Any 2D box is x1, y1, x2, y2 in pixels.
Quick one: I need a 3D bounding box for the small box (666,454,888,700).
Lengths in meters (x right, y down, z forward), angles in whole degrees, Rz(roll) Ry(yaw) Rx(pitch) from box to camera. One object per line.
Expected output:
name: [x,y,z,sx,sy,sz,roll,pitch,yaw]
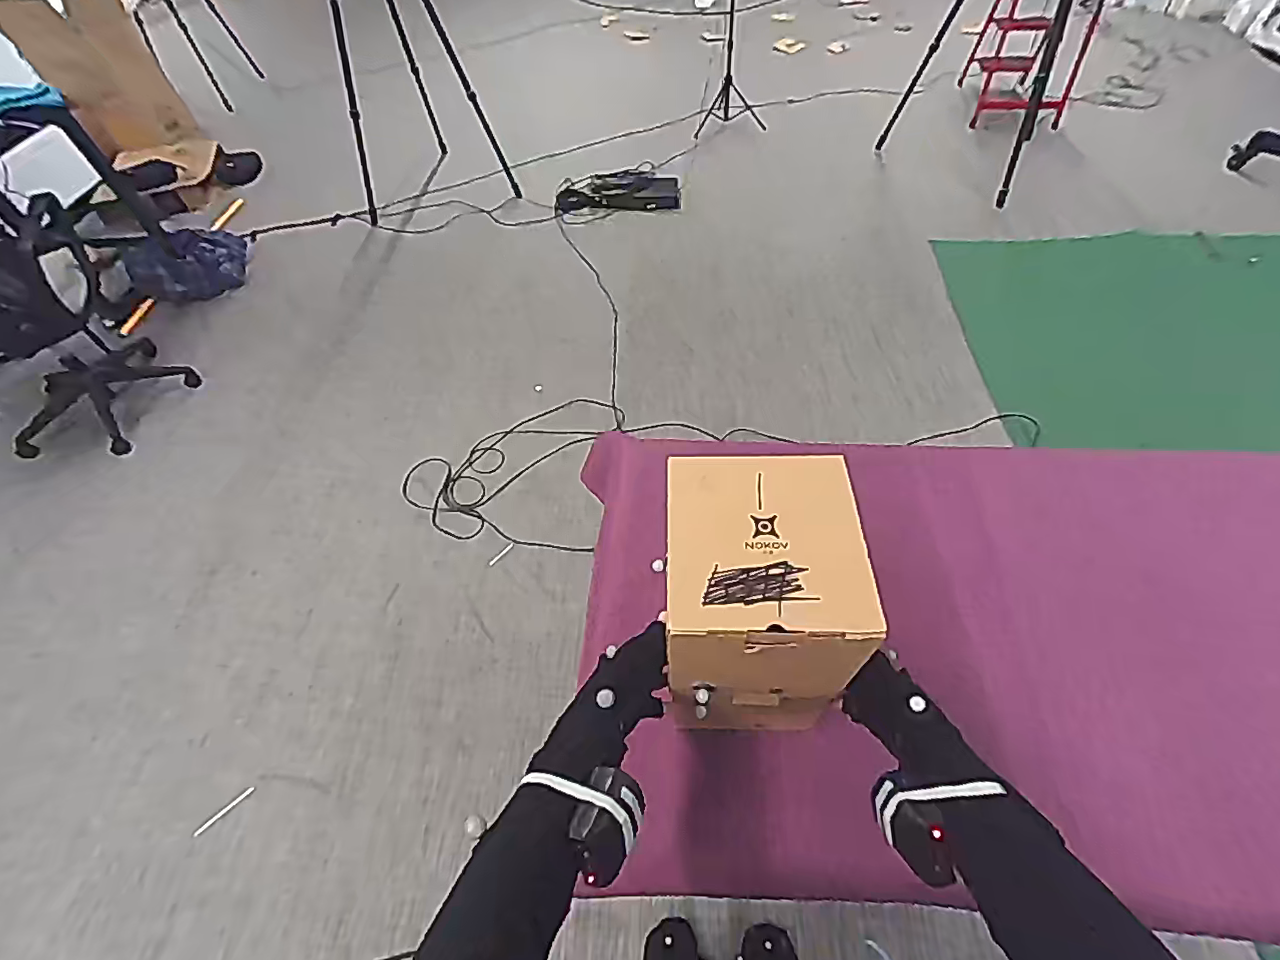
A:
small box: [0.112,0.097,0.513,0.168,0.176,0.179,3,54,4]
